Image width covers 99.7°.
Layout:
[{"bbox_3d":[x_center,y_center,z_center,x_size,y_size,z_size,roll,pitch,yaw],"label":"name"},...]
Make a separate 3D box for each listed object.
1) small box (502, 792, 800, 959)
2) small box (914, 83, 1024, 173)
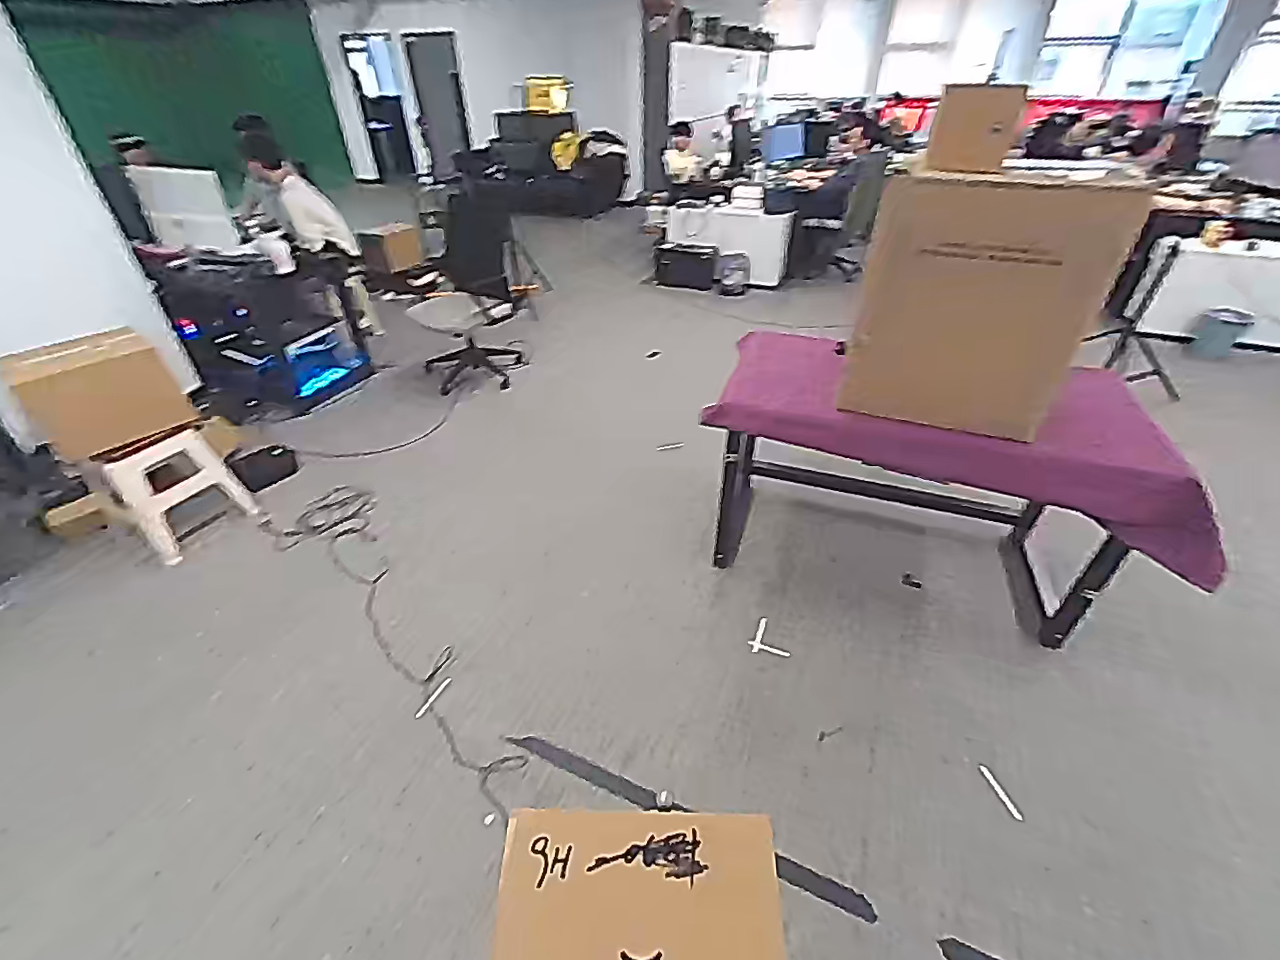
[{"bbox_3d":[0.003,0.313,0.354,0.168,0.176,0.179,3,55,-2],"label":"small box"},{"bbox_3d":[0.770,-0.835,1.284,0.179,0.176,0.168,12,38,17],"label":"small box"}]
